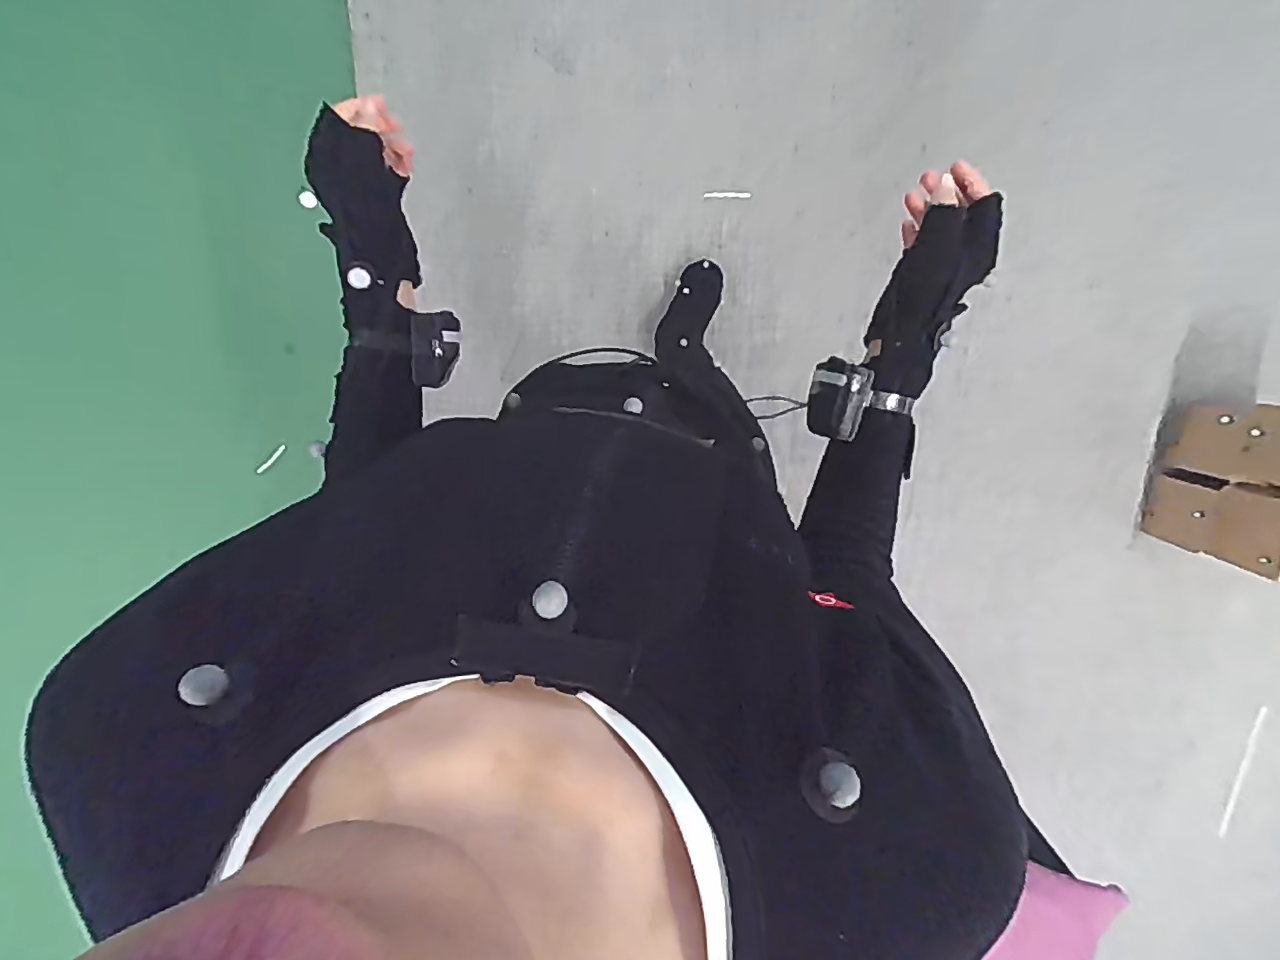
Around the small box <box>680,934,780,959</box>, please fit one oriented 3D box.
[{"bbox_3d":[0.147,0.875,0.863,0.168,0.176,0.179,4,105,1],"label":"small box"}]
